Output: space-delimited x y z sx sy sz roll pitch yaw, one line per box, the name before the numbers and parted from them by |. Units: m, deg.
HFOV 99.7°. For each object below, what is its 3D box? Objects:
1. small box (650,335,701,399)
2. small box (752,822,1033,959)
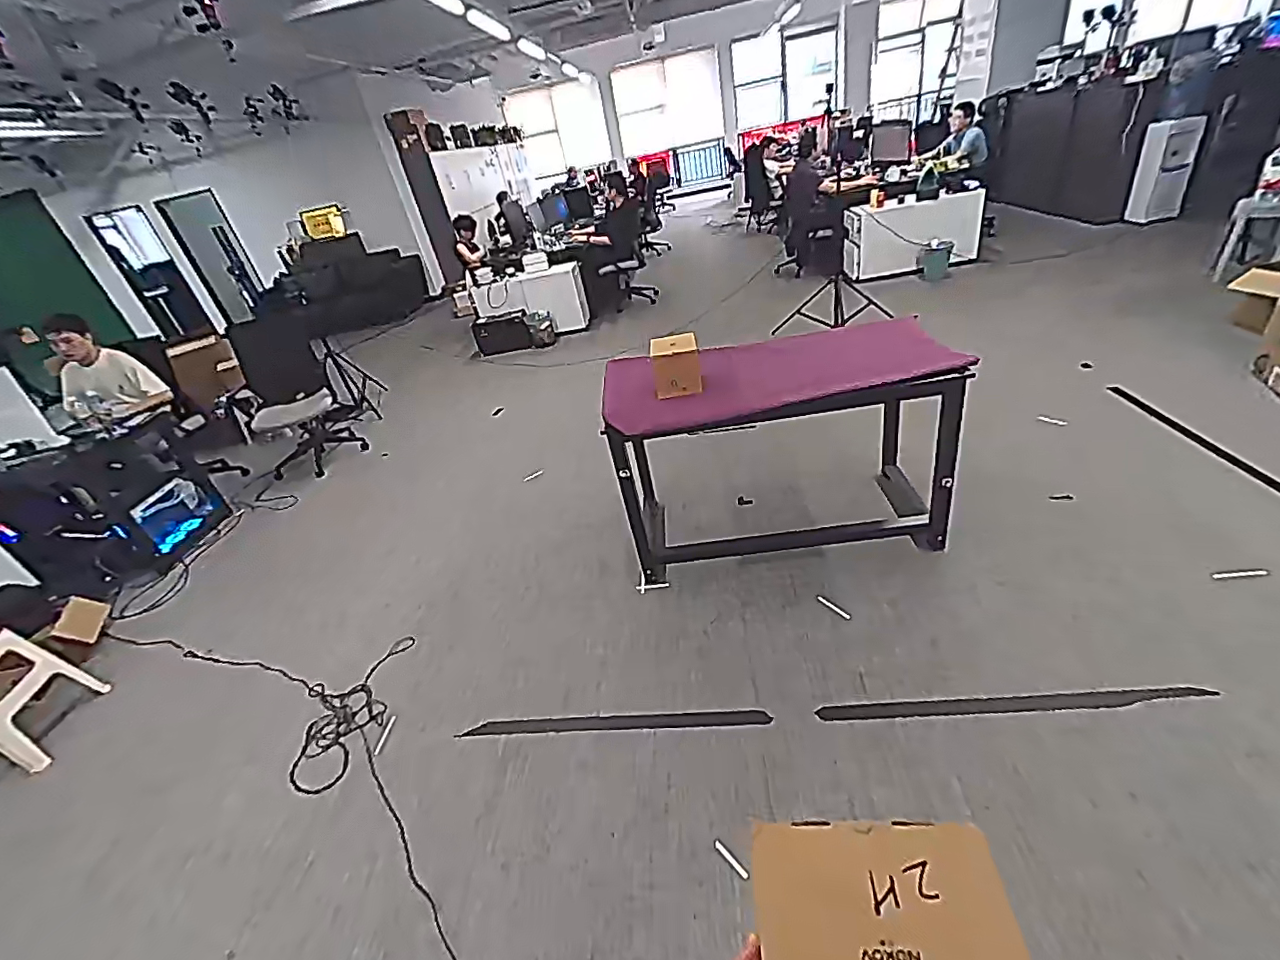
small box | 0.131 -0.415 1.993 0.168 0.176 0.179 -8 33 6
small box | 0.173 0.371 0.382 0.168 0.176 0.179 -5 38 8
